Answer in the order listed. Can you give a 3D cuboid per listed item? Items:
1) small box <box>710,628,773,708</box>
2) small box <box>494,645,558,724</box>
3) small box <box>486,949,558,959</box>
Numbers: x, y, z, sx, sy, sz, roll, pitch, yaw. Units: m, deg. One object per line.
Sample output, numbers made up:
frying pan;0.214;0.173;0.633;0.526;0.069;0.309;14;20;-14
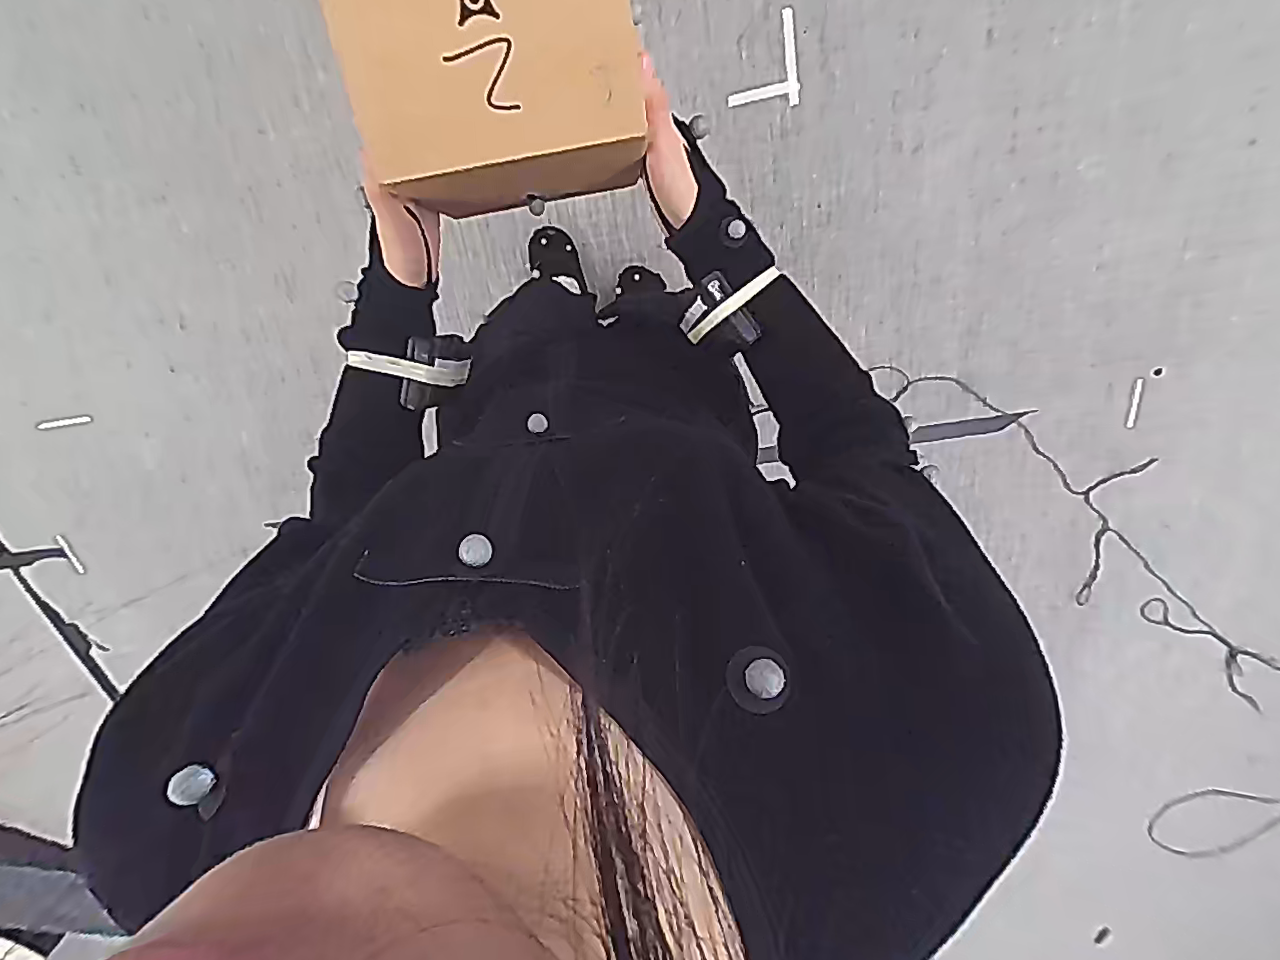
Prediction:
small box;0.323;0.594;1.733;0.168;0.176;0.179;-8;114;3
small box;-0.366;0.657;1.752;0.179;0.176;0.168;6;113;-5
small box;-0.269;1.169;1.178;0.179;0.176;0.168;-7;114;2
